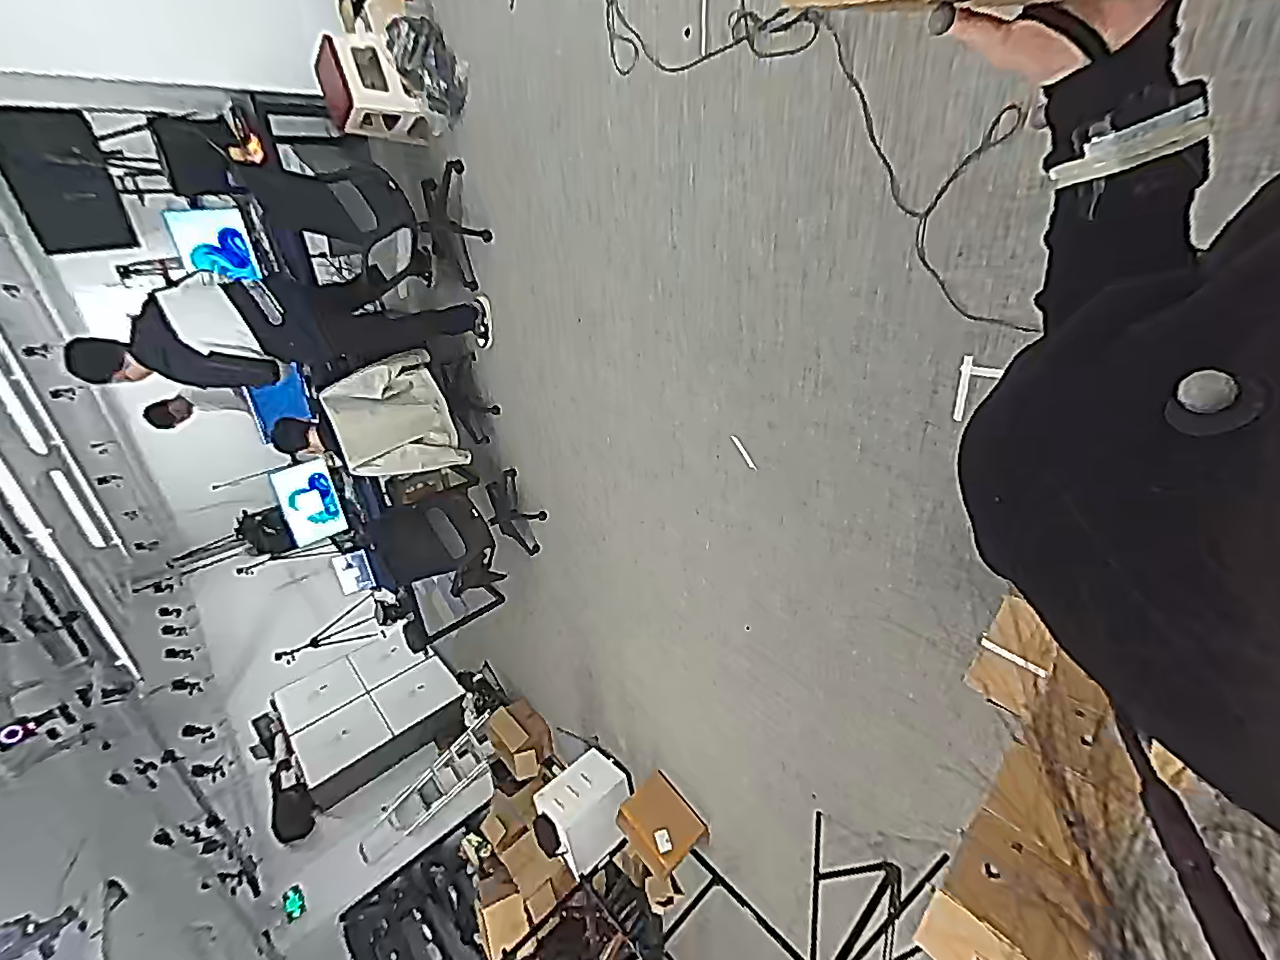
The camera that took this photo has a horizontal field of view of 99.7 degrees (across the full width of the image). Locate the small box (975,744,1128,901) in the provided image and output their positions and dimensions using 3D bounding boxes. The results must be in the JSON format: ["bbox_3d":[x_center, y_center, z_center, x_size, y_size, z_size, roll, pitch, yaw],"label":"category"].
[{"bbox_3d":[0.667,0.585,0.896,0.168,0.176,0.179,27,131,40],"label":"small box"}]

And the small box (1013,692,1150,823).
[{"bbox_3d":[0.788,0.531,0.990,0.168,0.176,0.179,29,131,39],"label":"small box"}]

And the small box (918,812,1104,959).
[{"bbox_3d":[0.549,0.648,0.804,0.168,0.176,0.179,27,132,41],"label":"small box"}]

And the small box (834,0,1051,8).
[{"bbox_3d":[0.192,-0.328,0.245,0.179,0.176,0.168,28,138,33],"label":"small box"}]
